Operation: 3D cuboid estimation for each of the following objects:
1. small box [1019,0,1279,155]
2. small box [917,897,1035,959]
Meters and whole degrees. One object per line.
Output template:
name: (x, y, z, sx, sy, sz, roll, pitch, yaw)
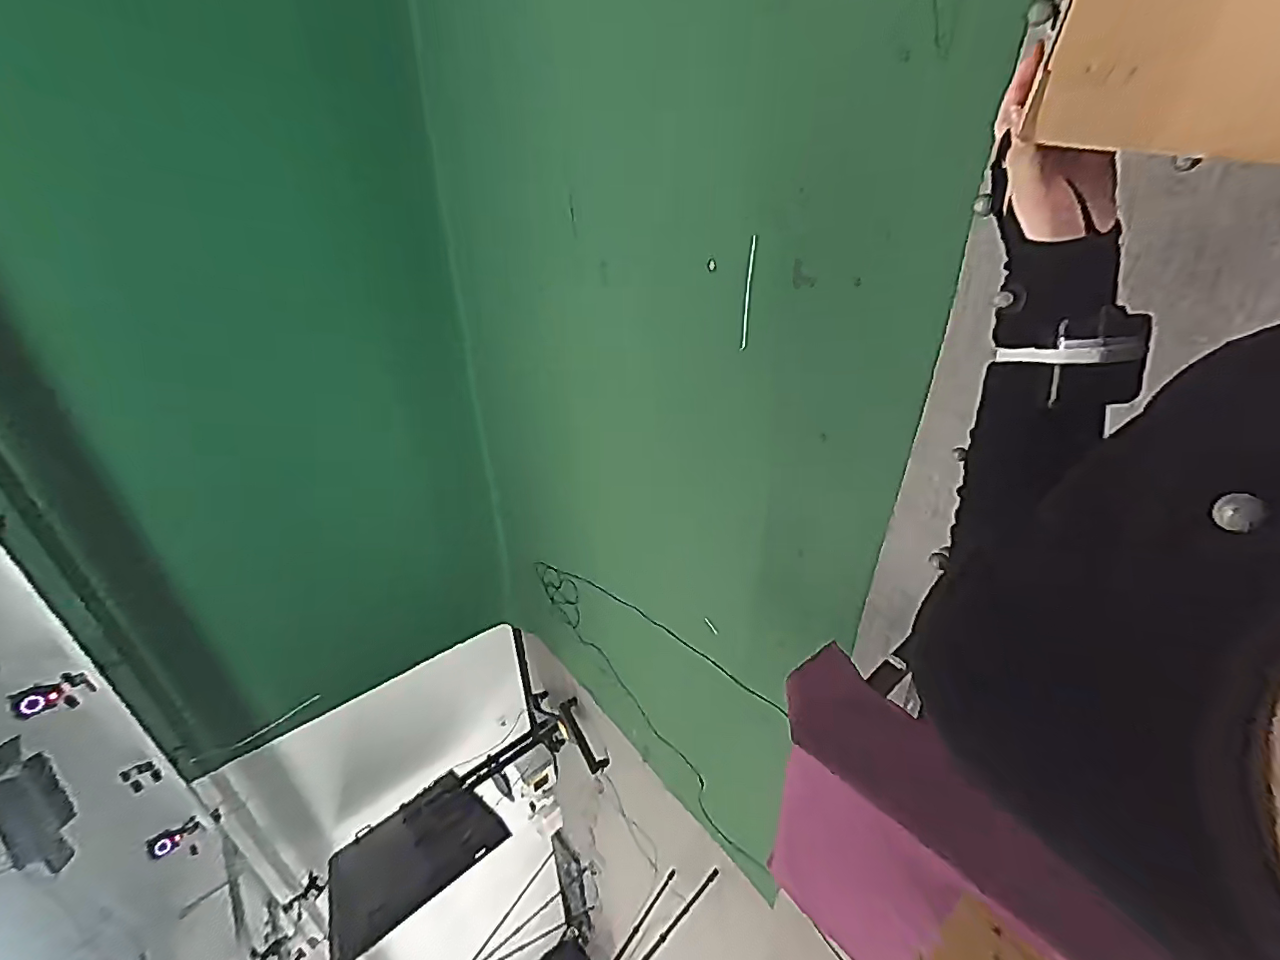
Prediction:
small box: (0.312, -0.264, 0.251, 0.179, 0.176, 0.168, 20, 138, 18)
small box: (0.590, 0.895, 0.953, 0.168, 0.176, 0.179, 31, 133, 41)
